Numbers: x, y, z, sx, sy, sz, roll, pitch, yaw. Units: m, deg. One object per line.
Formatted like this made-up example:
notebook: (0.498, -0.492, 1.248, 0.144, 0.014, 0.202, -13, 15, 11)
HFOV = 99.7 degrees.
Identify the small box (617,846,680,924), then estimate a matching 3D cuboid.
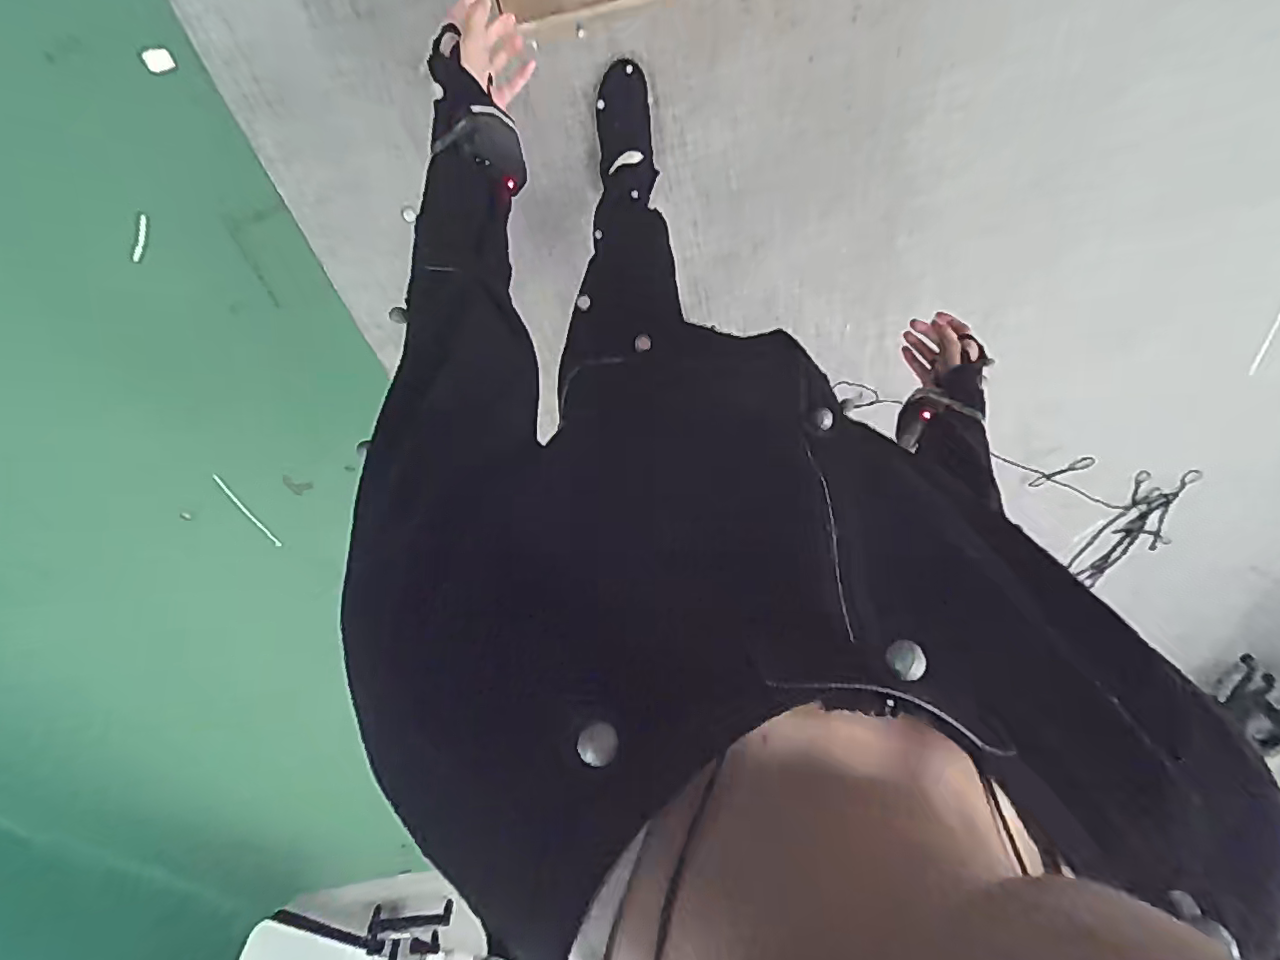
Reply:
small box: (0.027, 1.343, 1.798, 0.179, 0.176, 0.168, -11, 130, 2)
